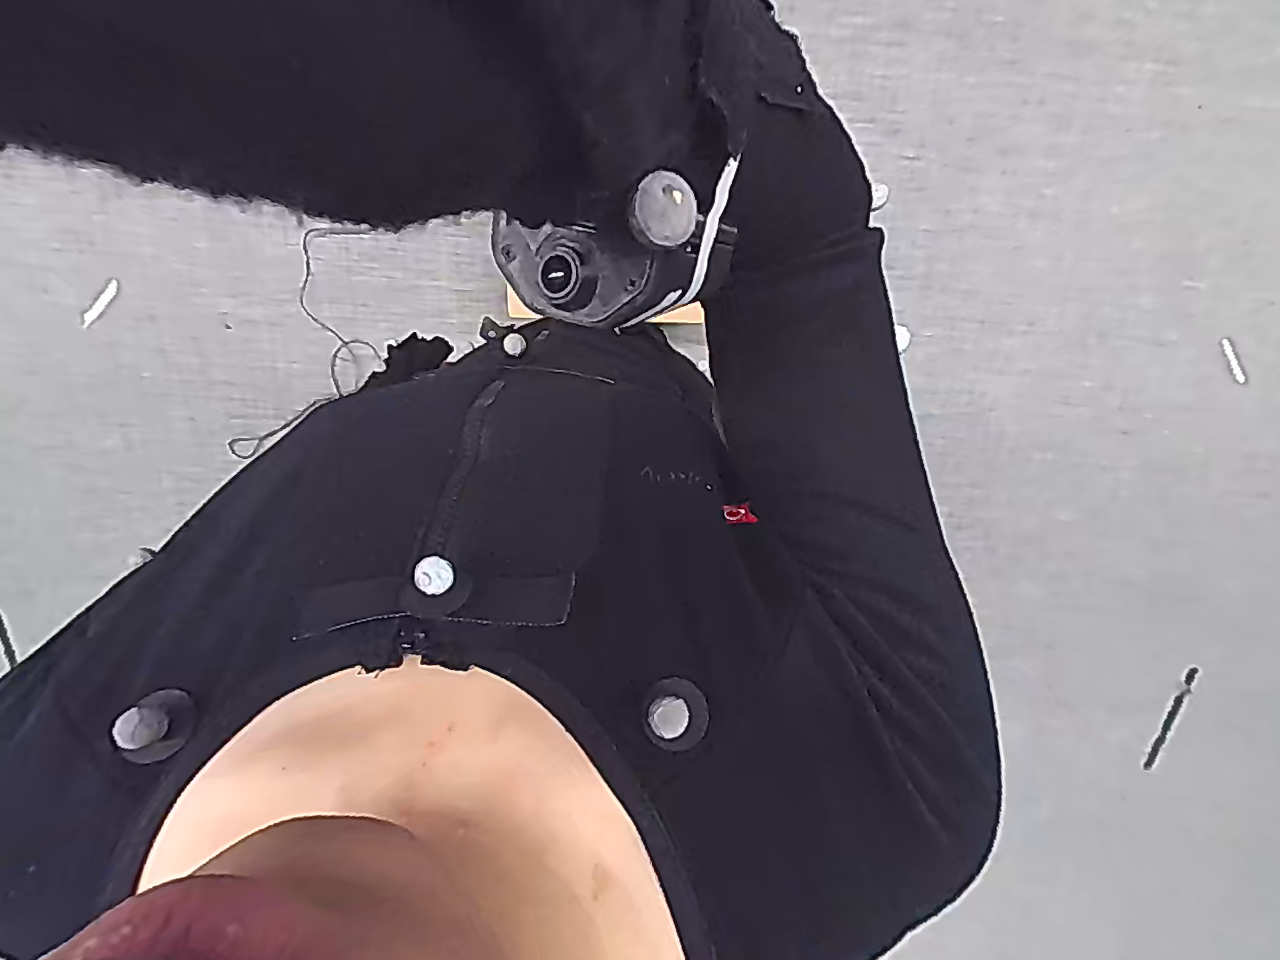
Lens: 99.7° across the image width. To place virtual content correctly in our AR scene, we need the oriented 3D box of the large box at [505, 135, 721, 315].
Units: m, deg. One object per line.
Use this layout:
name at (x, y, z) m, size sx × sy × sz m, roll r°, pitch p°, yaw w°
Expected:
large box at (-0.054, -0.525, 1.178) m, size 0.408 × 0.320 × 0.320 m, roll 1°, pitch 108°, yaw -1°
